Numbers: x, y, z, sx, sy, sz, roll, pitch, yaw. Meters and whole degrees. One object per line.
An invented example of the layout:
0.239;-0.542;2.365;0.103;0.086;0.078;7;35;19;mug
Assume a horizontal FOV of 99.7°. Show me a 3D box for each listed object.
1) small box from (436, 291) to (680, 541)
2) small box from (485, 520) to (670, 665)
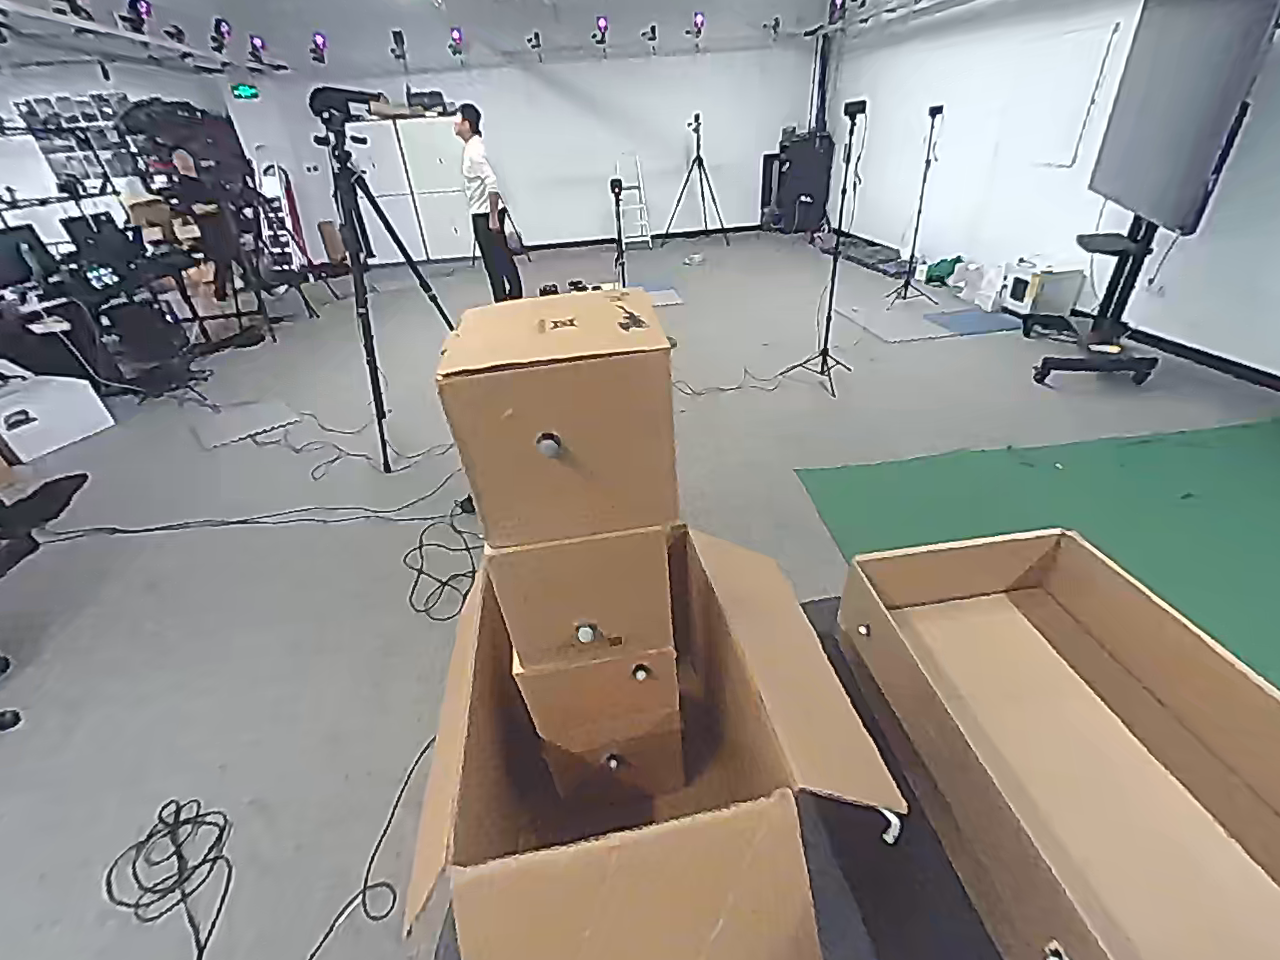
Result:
-0.065;-0.060;0.505;0.179;0.176;0.168;-8;36;-3;small box
-0.062;0.074;0.600;0.168;0.176;0.179;-8;36;-3;small box
